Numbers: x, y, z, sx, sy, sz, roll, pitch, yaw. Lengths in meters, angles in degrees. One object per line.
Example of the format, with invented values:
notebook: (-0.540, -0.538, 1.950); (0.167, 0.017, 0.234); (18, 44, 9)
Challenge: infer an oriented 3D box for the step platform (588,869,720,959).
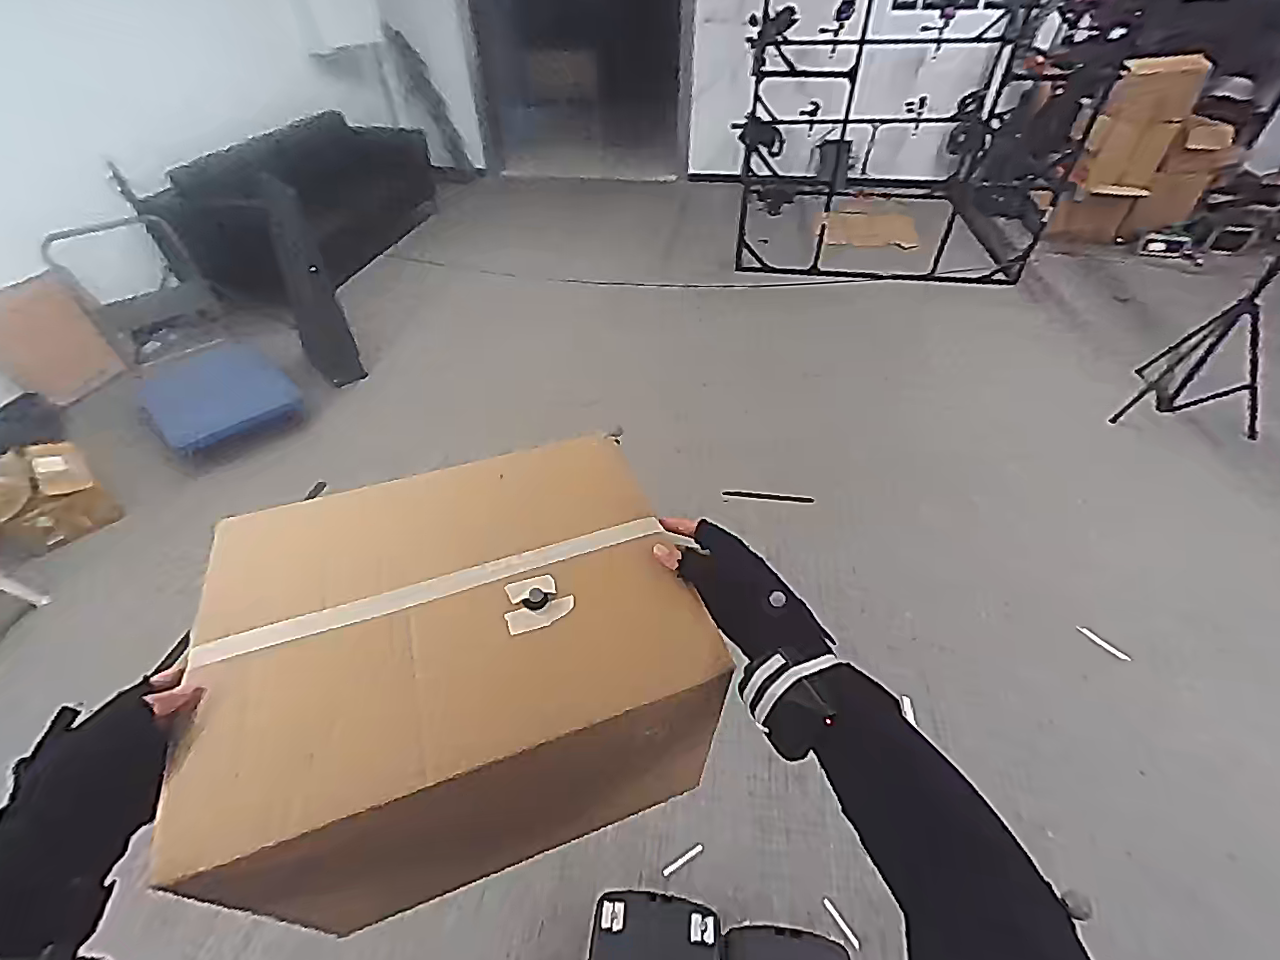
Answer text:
step platform: (0.007, 1.187, 1.063); (0.286, 0.204, 0.684); (4, 42, 6)

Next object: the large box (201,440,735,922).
large box: (-0.159, 0.205, 0.603); (0.408, 0.320, 0.320); (-14, 48, -16)
